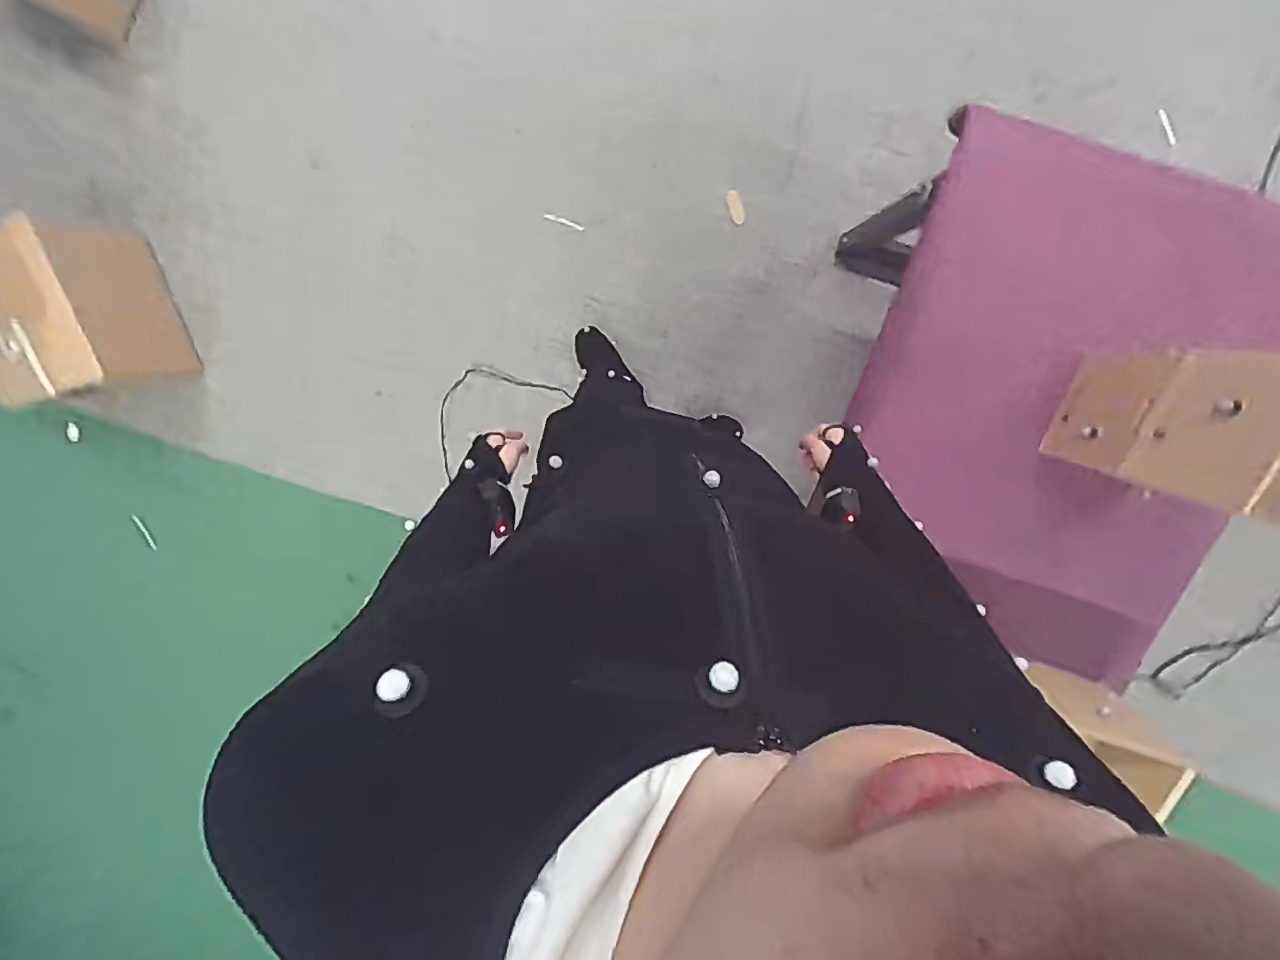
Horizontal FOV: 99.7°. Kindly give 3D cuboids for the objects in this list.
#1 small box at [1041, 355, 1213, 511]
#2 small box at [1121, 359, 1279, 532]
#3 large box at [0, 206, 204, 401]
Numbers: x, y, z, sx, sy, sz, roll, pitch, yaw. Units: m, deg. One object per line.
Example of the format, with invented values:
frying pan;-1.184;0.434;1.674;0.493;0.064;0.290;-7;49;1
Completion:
small box;0.730;-0.073;0.767;0.179;0.176;0.168;18;106;-2
small box;0.717;-0.034;0.611;0.179;0.176;0.168;17;105;-2
large box;-1.524;-0.462;1.469;0.320;0.320;0.408;-13;104;8
